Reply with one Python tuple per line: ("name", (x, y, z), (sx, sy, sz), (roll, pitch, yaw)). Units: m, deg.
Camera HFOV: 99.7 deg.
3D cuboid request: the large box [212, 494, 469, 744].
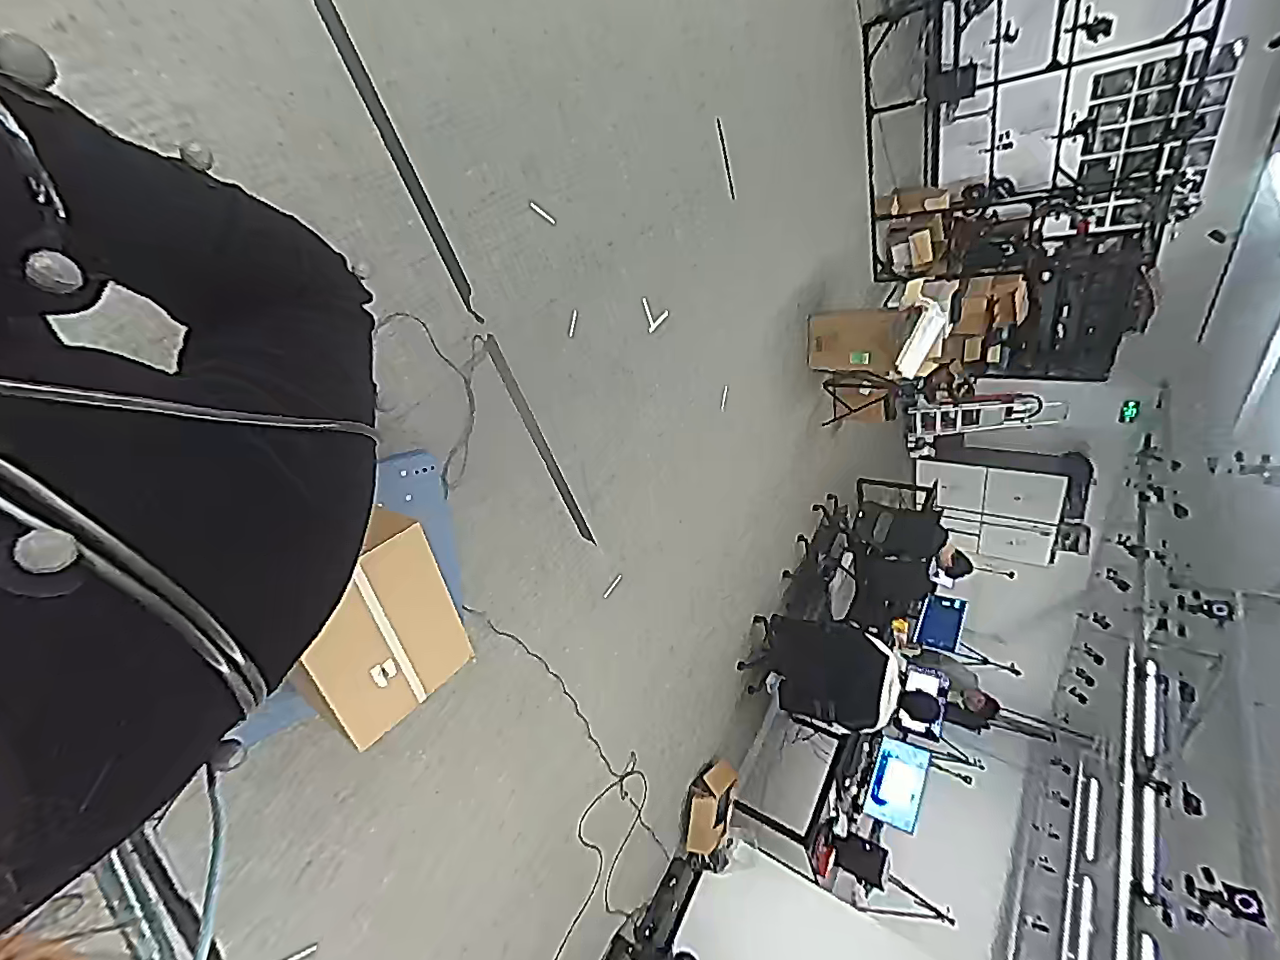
("large box", (-0.663, 0.295, 1.234), (0.320, 0.320, 0.408), (-37, 128, -41))
